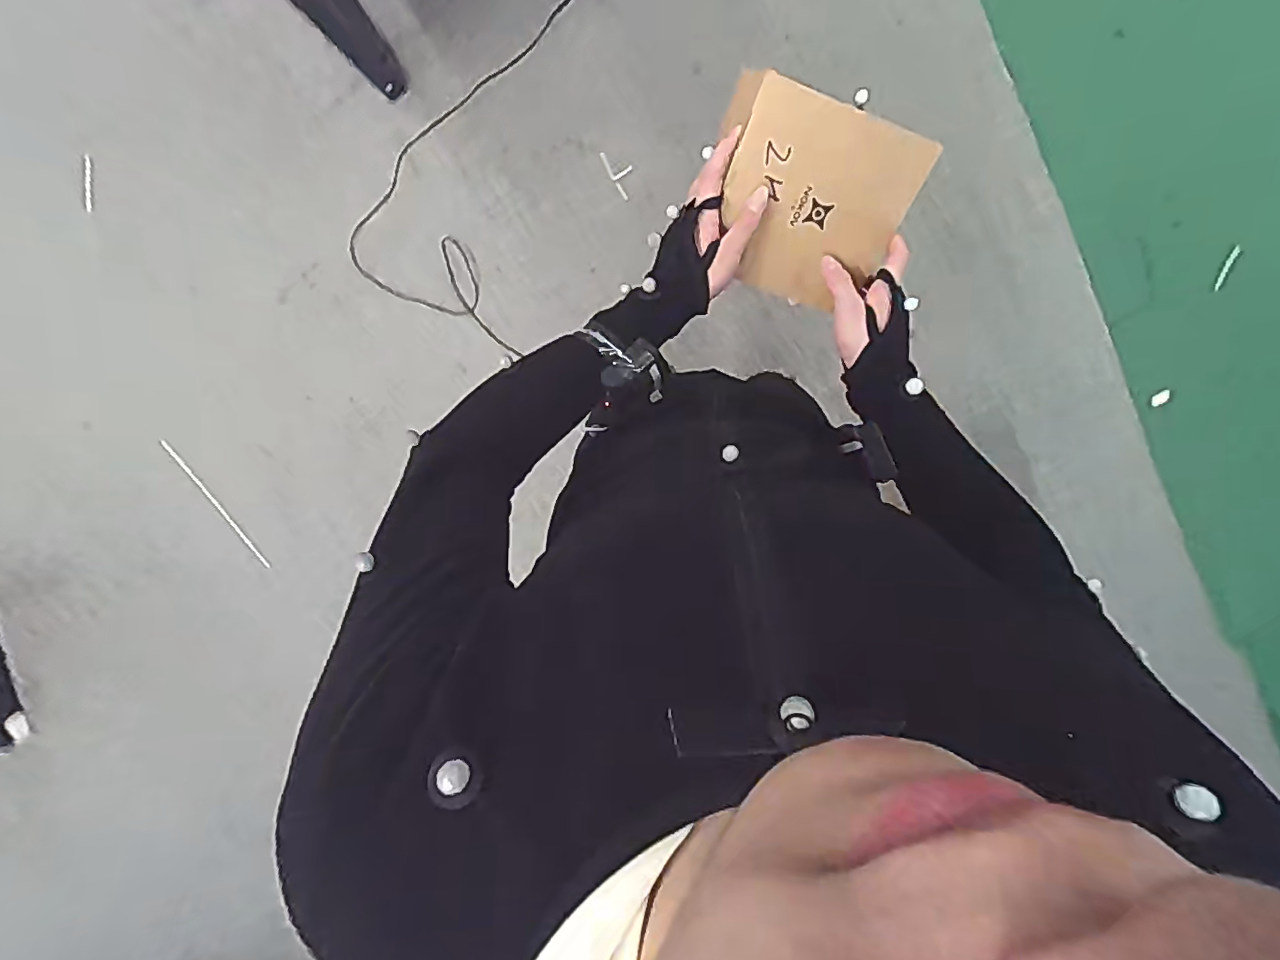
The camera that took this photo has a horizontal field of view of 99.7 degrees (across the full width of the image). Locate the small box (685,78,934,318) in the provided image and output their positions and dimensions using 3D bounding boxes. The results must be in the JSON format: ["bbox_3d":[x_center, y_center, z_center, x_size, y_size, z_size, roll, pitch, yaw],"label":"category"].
[{"bbox_3d":[0.156,-0.299,0.567,0.179,0.176,0.168,15,127,-9],"label":"small box"}]
